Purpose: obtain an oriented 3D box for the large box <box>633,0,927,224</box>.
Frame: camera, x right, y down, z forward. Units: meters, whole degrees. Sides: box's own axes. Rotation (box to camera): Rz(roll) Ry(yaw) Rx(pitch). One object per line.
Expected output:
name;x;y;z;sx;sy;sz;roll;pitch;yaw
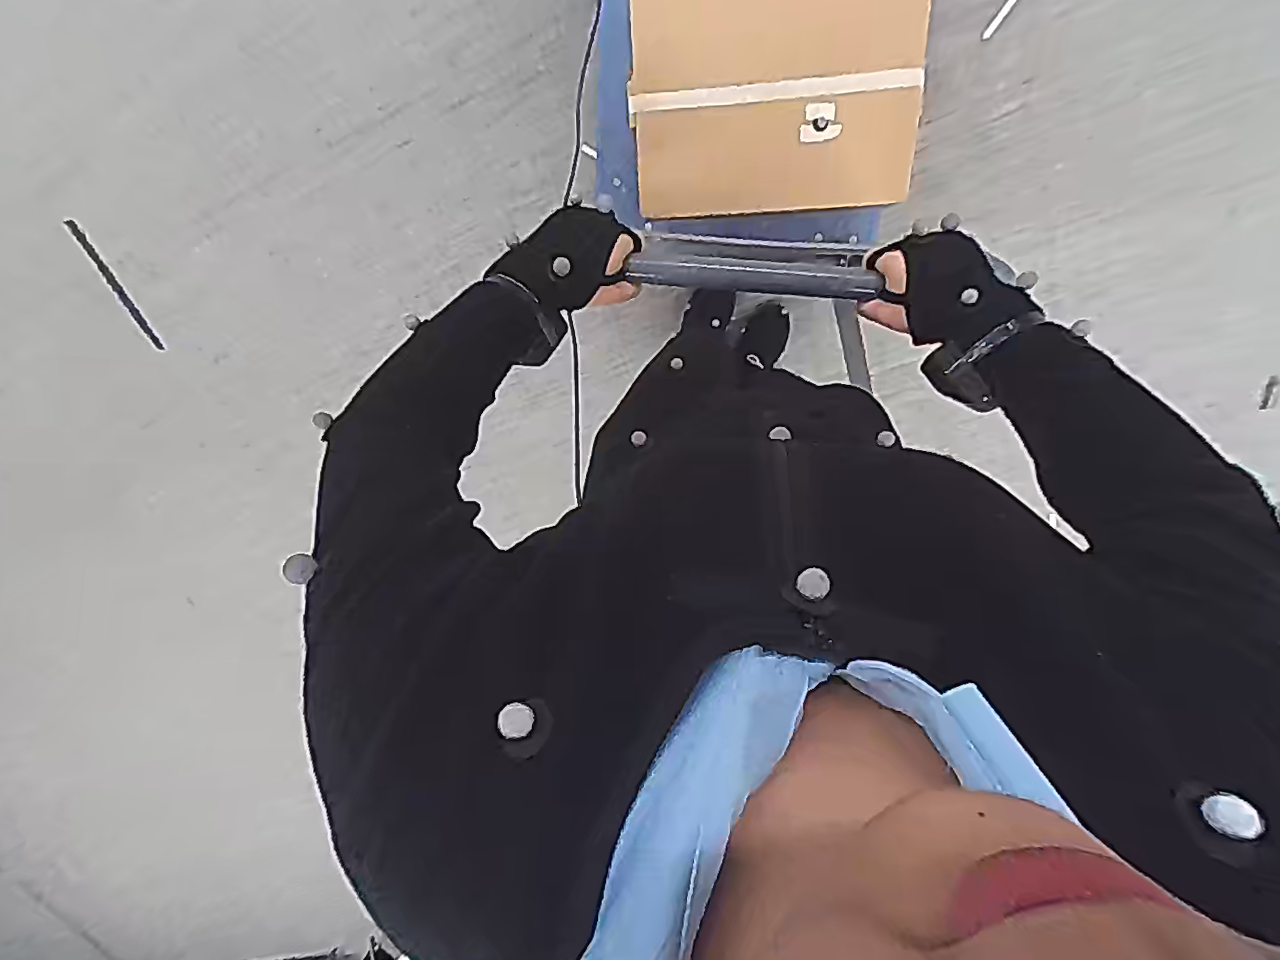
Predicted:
large box;0.210;-0.628;0.921;0.408;0.320;0.320;-2;115;6
